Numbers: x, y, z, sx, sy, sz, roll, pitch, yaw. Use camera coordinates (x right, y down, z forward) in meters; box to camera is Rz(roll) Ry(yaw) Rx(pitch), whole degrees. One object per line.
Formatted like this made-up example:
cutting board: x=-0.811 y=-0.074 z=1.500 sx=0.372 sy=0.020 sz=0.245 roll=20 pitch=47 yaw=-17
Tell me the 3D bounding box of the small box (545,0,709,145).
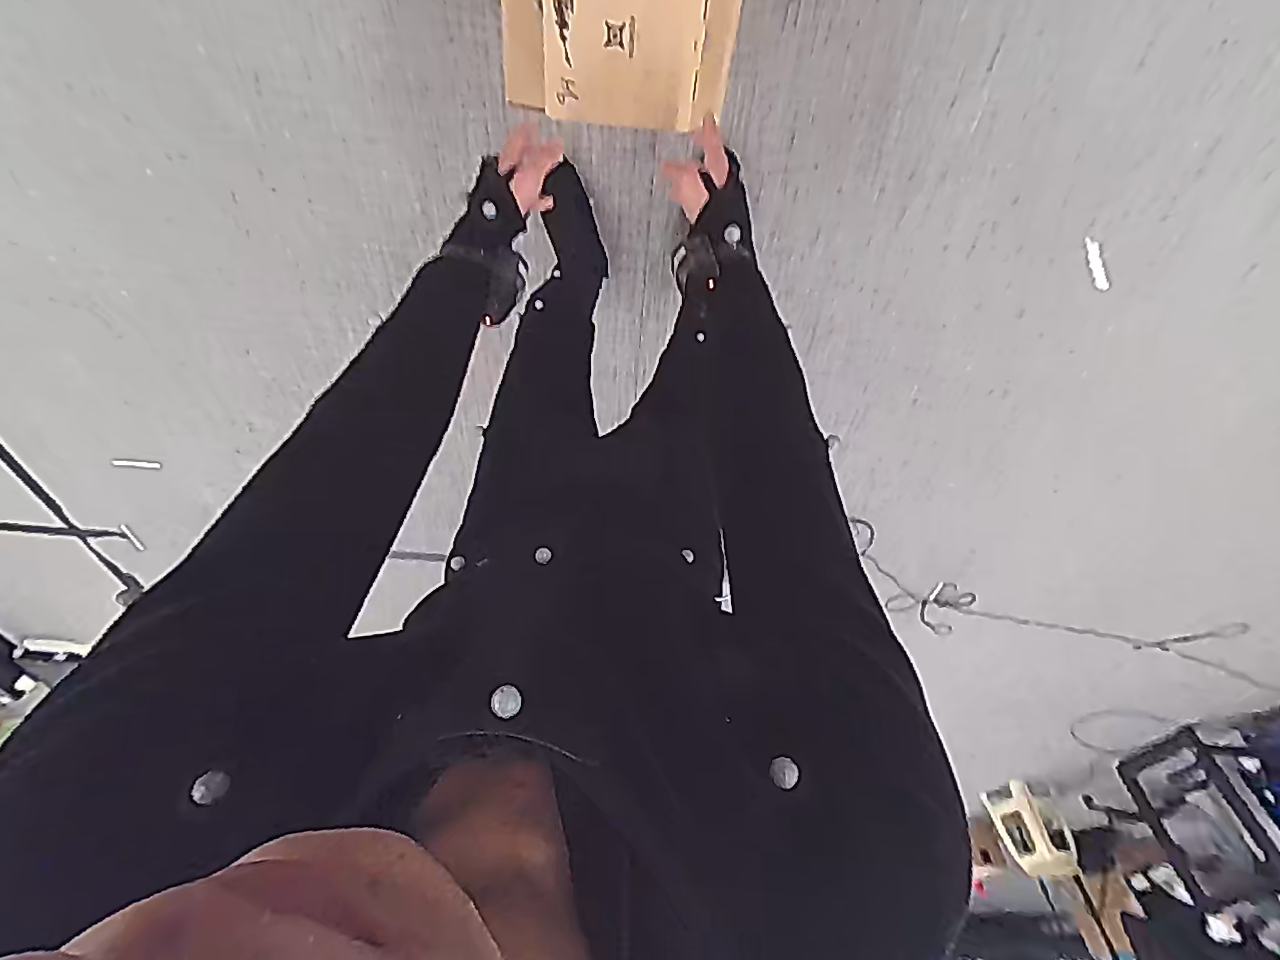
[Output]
small box: x=-0.019 y=-0.534 z=0.664 sx=0.179 sy=0.176 sz=0.168 roll=4 pitch=134 yaw=-3
